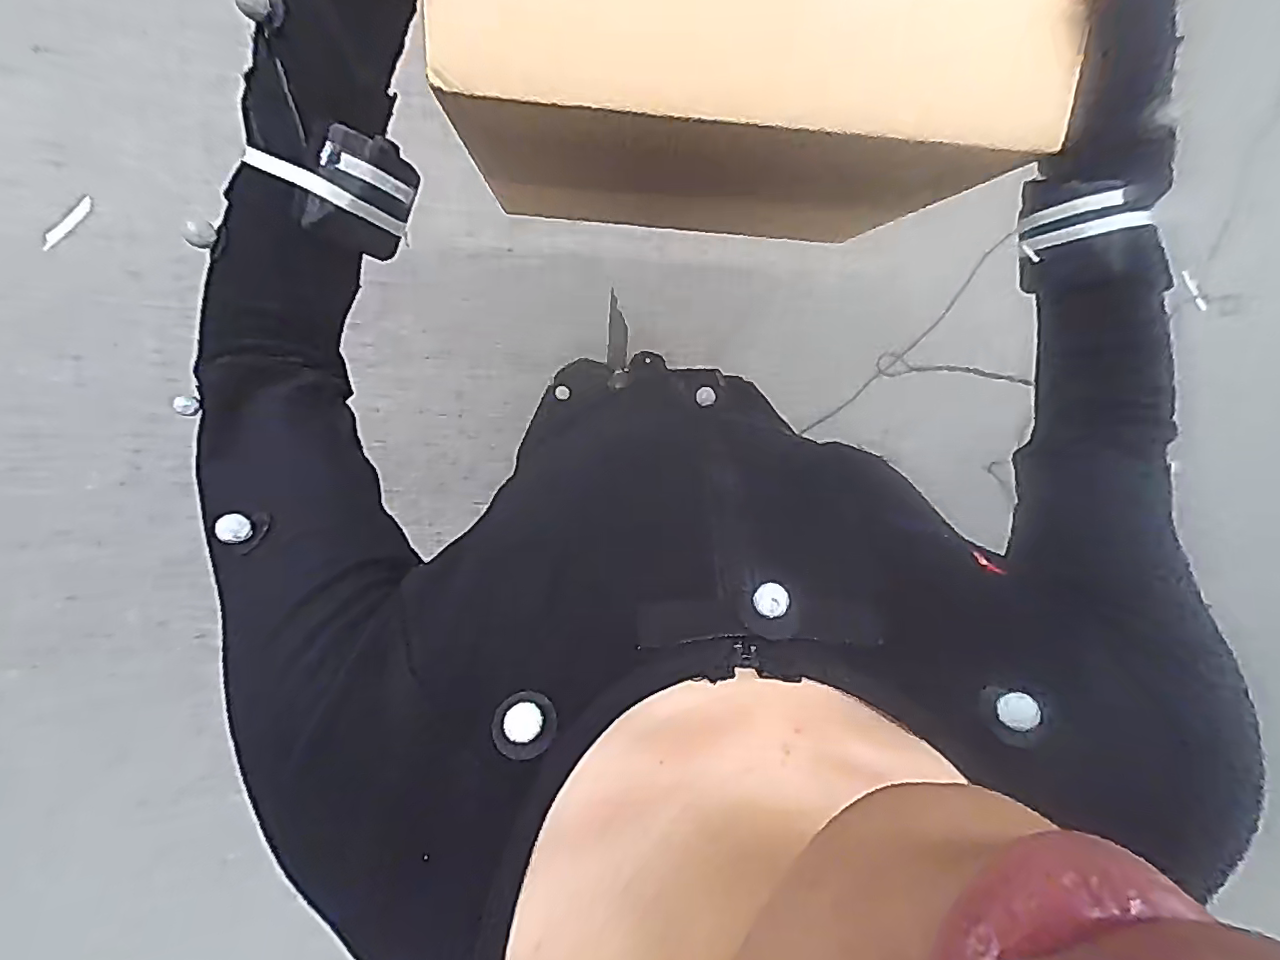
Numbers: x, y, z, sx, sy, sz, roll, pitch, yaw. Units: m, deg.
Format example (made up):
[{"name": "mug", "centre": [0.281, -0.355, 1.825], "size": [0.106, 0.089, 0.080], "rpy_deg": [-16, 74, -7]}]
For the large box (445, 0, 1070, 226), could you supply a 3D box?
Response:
[{"name": "large box", "centre": [0.067, -0.420, 0.456], "size": [0.408, 0.320, 0.320], "rpy_deg": [1, 104, -7]}]
